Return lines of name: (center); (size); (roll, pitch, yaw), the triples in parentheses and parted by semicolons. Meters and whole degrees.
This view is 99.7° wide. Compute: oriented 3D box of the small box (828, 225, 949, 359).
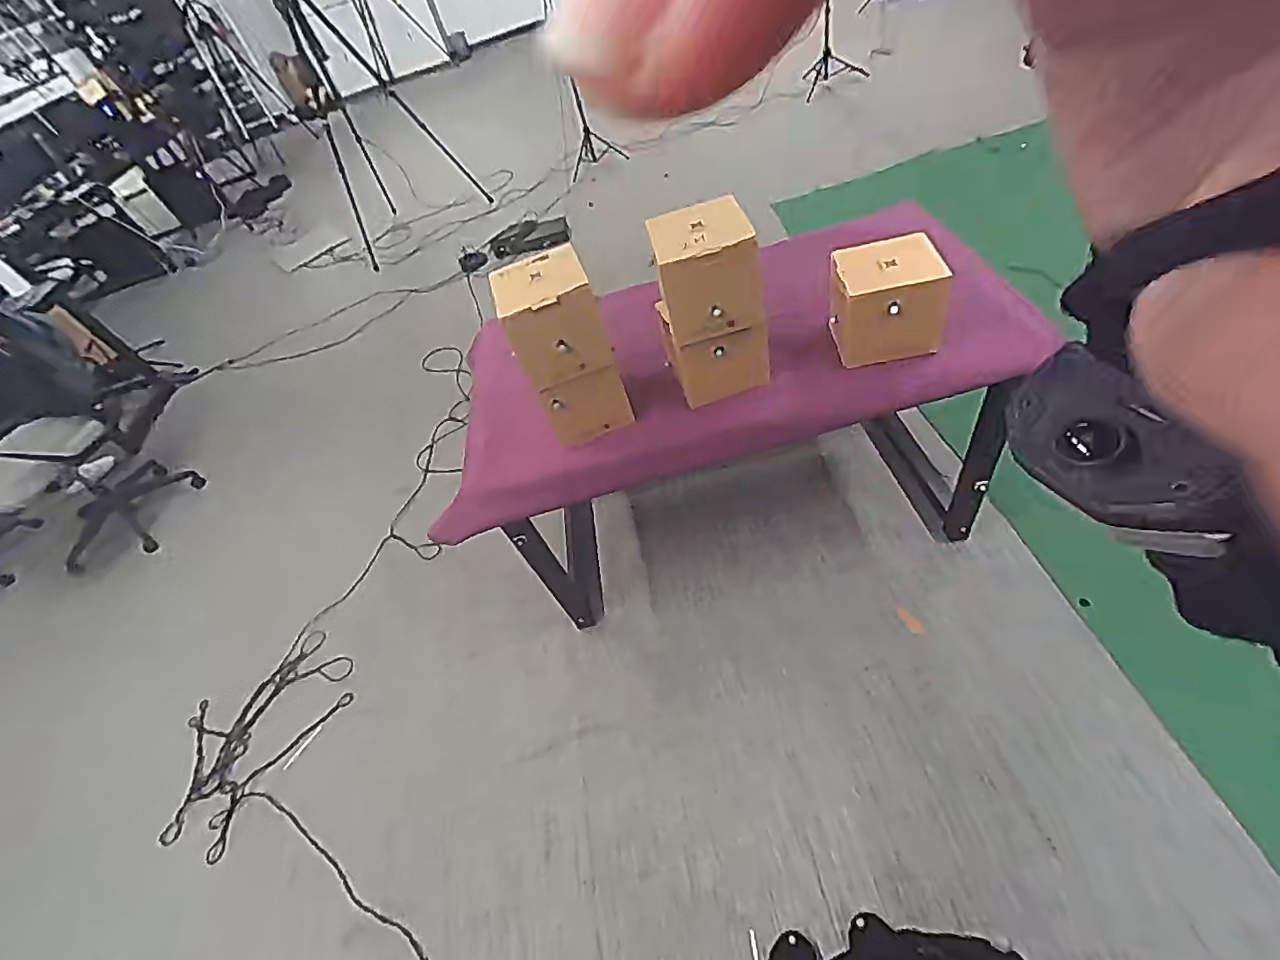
small box: (0.474, -0.363, 1.059); (0.179, 0.176, 0.168); (-9, 49, 12)

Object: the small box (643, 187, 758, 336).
small box: (0.110, -0.392, 0.980); (0.168, 0.176, 0.179); (-15, 50, 5)

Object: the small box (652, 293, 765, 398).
small box: (0.144, -0.296, 1.109); (0.179, 0.176, 0.168); (-20, 49, 0)

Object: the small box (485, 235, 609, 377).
small box: (-0.169, -0.312, 1.001); (0.168, 0.176, 0.179); (-21, 50, 0)
